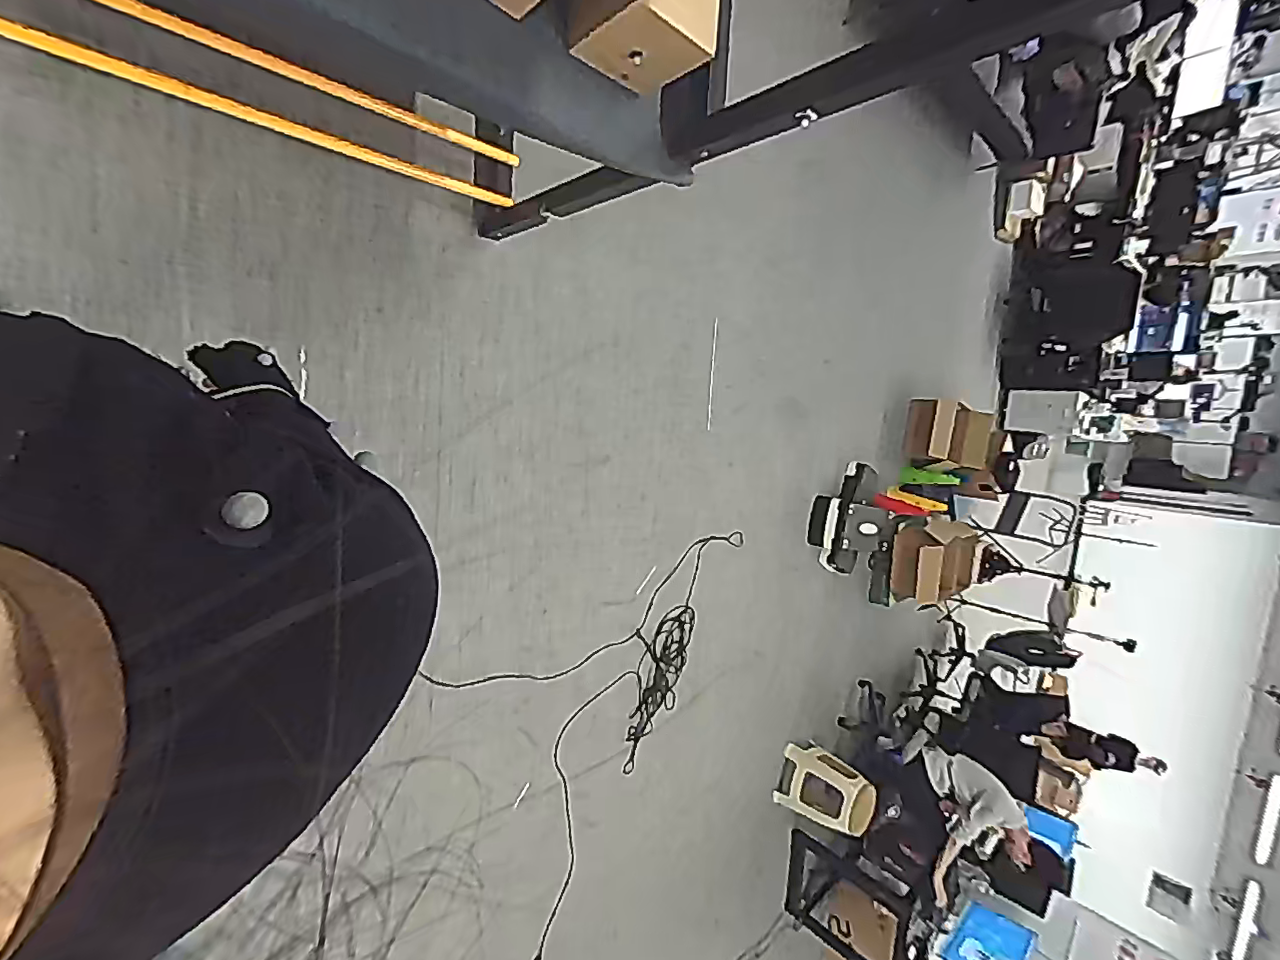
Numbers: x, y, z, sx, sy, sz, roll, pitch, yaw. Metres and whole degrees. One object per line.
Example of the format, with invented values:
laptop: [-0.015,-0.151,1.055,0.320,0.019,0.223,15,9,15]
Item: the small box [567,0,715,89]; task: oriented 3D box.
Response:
small box: [0.001,-0.755,0.837,0.168,0.176,0.179,-4,100,-44]
